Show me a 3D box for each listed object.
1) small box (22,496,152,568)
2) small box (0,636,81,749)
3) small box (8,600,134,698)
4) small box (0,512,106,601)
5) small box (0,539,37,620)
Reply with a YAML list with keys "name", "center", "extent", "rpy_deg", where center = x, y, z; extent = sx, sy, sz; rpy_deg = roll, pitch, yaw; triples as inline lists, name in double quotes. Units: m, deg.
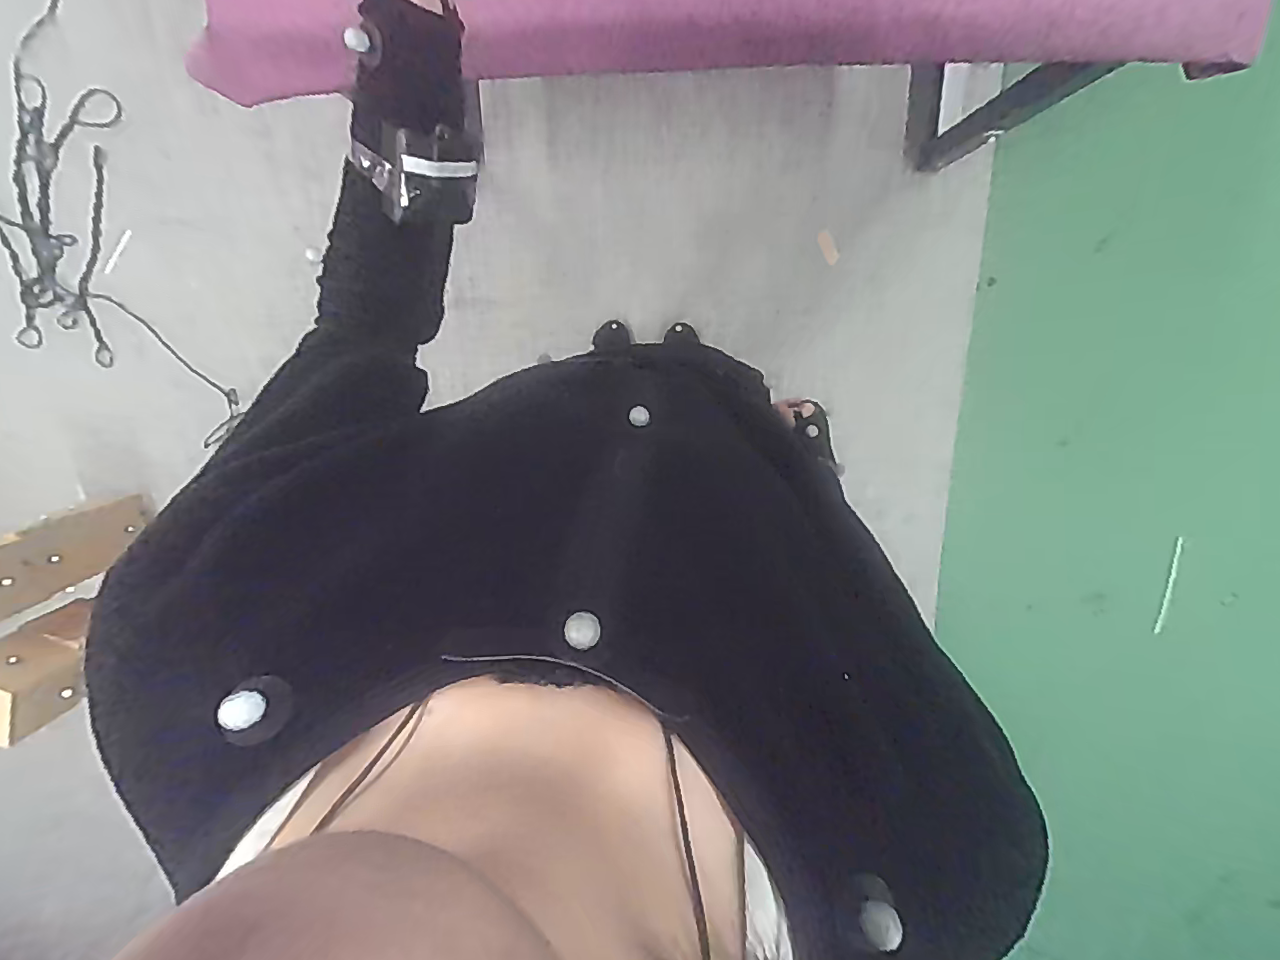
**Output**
- name: "small box"
  center: [-1.543, 0.151, 1.528]
  extent: [0.179, 0.176, 0.168]
  rpy_deg: [-8, 105, 4]
- name: "small box"
  center: [-1.508, 0.497, 1.287]
  extent: [0.179, 0.176, 0.168]
  rpy_deg: [20, 104, -4]
- name: "small box"
  center: [-1.511, 0.452, 1.445]
  extent: [0.168, 0.176, 0.179]
  rpy_deg: [16, 104, -2]
- name: "small box"
  center: [-1.535, 0.201, 1.373]
  extent: [0.168, 0.176, 0.179]
  rpy_deg: [-12, 105, 4]
- name: "small box"
  center: [-1.533, 0.242, 1.215]
  extent: [0.179, 0.176, 0.168]
  rpy_deg: [-5, 106, 1]
